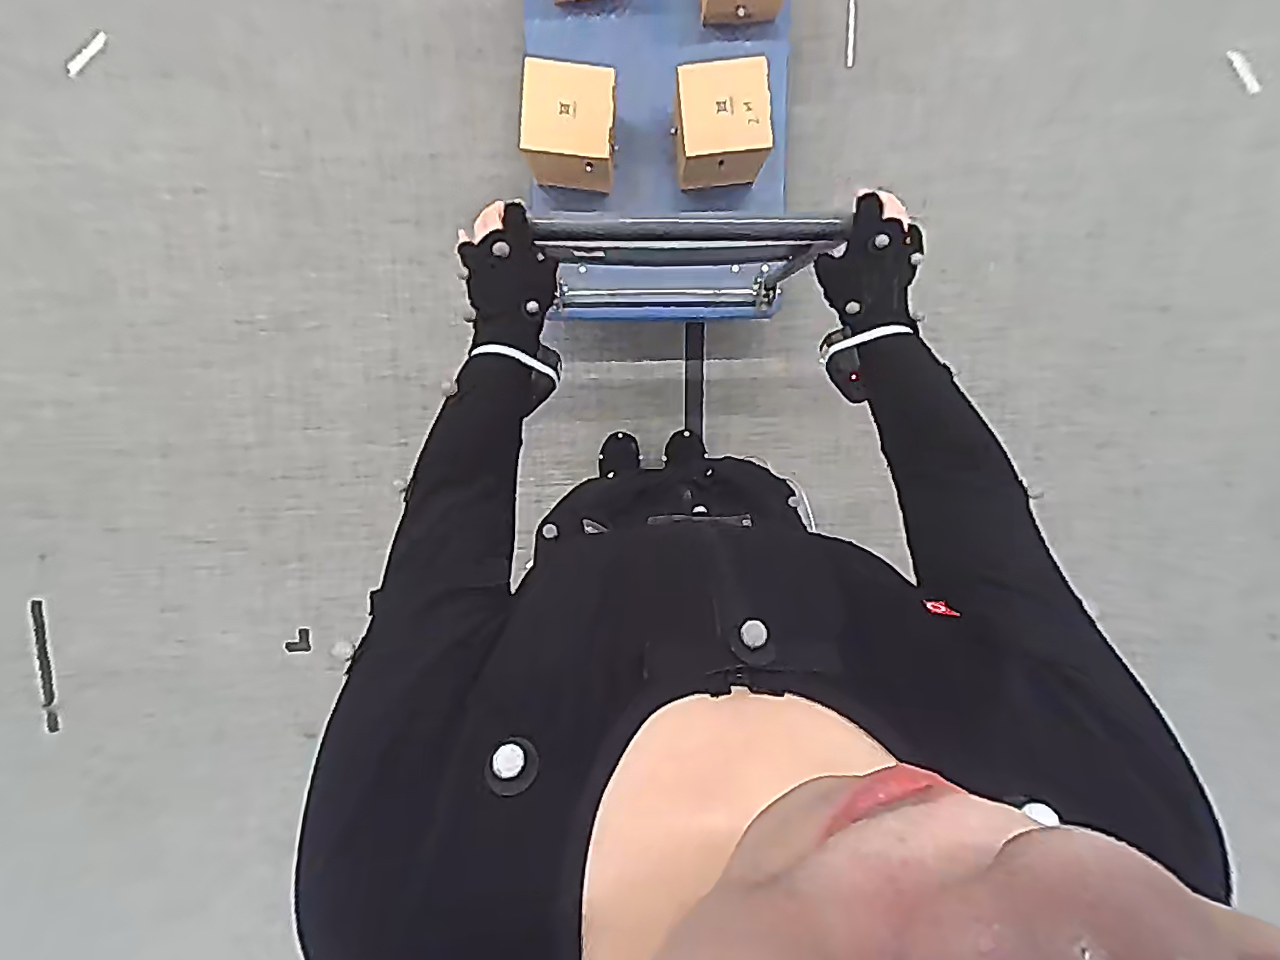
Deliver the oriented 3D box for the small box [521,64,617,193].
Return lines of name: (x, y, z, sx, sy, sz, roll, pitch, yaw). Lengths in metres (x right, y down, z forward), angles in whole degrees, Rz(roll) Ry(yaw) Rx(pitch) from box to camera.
small box: (-0.142, -0.722, 1.130, 0.179, 0.176, 0.168, 5, 98, -3)

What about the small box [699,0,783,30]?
small box: (0.208, -1.061, 1.089, 0.168, 0.176, 0.179, -4, 99, 0)

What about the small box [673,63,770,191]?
small box: (0.163, -0.729, 1.135, 0.179, 0.176, 0.168, -6, 98, 0)
